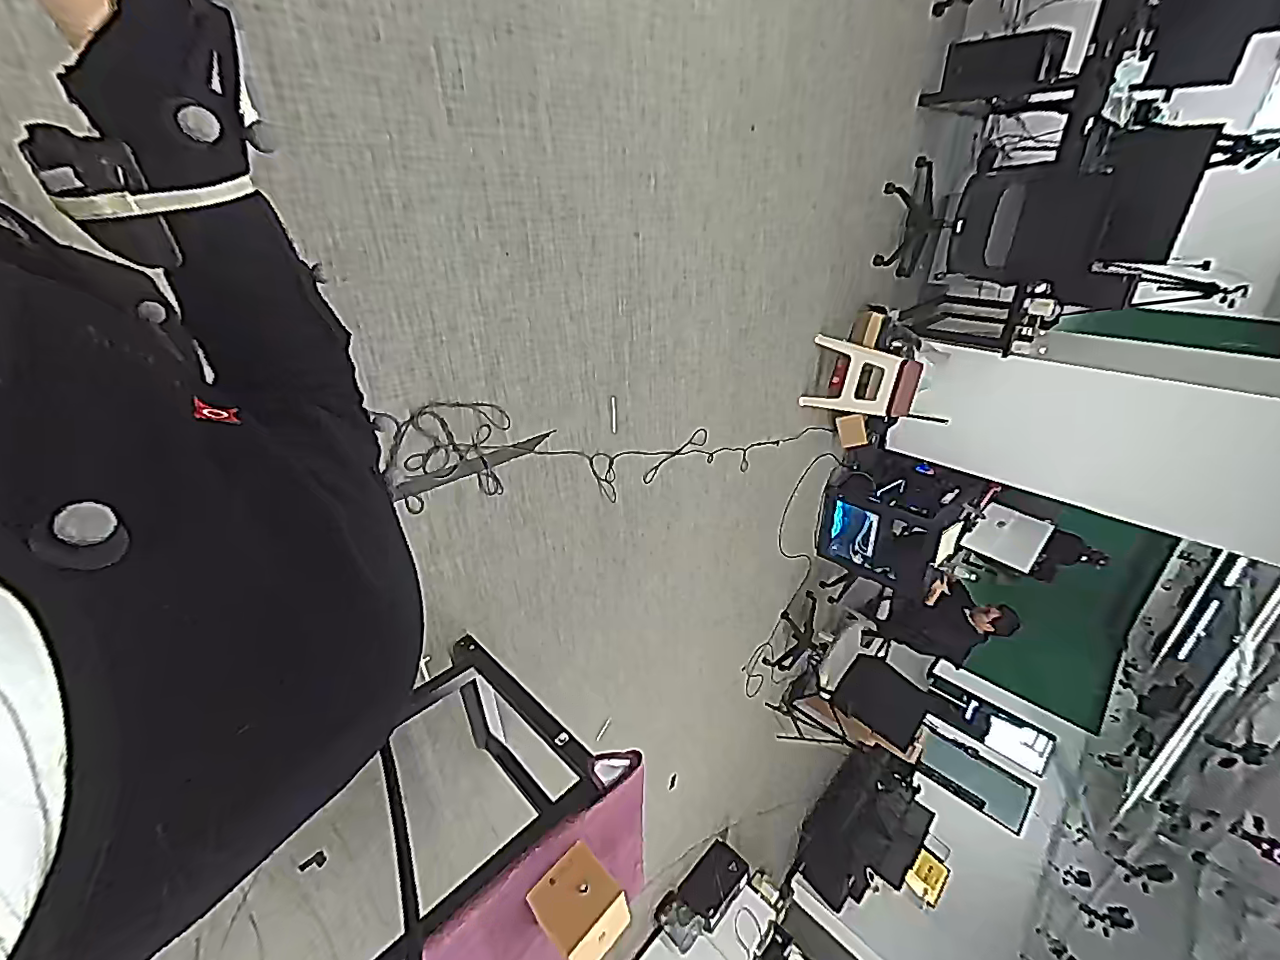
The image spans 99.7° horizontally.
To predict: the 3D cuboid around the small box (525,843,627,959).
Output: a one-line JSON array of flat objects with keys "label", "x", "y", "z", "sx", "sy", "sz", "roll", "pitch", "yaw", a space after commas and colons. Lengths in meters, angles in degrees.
[{"label": "small box", "x": -0.153, "y": 1.019, "z": 1.290, "sx": 0.168, "sy": 0.176, "sz": 0.179, "roll": -32, "pitch": 131, "yaw": -34}]
